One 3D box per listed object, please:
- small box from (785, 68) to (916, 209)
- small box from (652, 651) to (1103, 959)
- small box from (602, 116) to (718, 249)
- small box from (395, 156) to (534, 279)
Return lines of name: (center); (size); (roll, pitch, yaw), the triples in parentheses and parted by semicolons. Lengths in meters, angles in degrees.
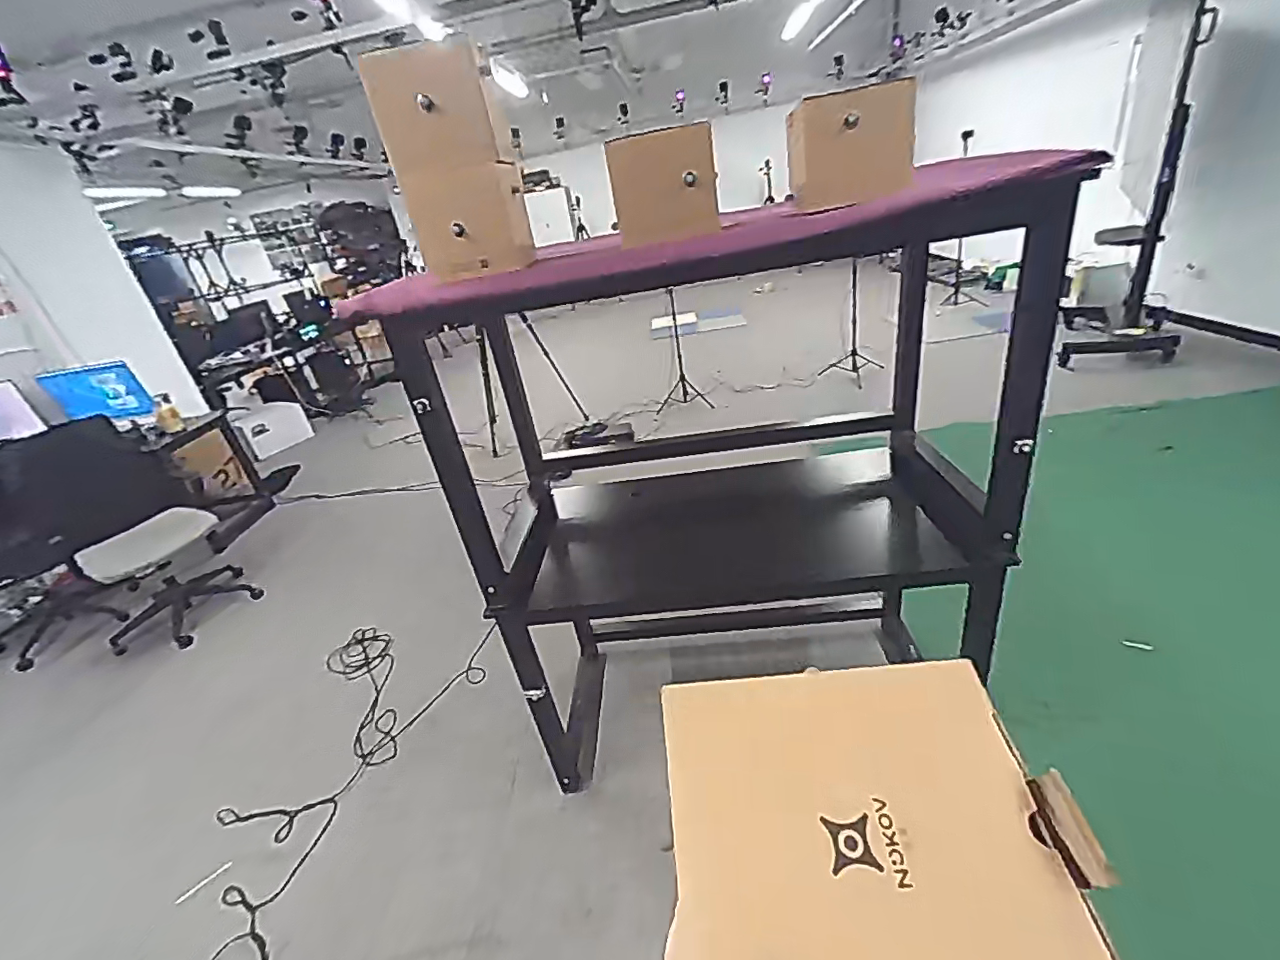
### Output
small box: (0.358, -0.575, 0.938); (0.179, 0.176, 0.168); (-7, 26, 8)
small box: (0.106, 0.220, 0.313); (0.179, 0.176, 0.168); (-6, 47, 2)
small box: (0.040, -0.519, 0.954); (0.179, 0.176, 0.168); (-9, 27, 6)
small box: (-0.298, -0.463, 0.963); (0.168, 0.176, 0.179); (-7, 28, 4)
